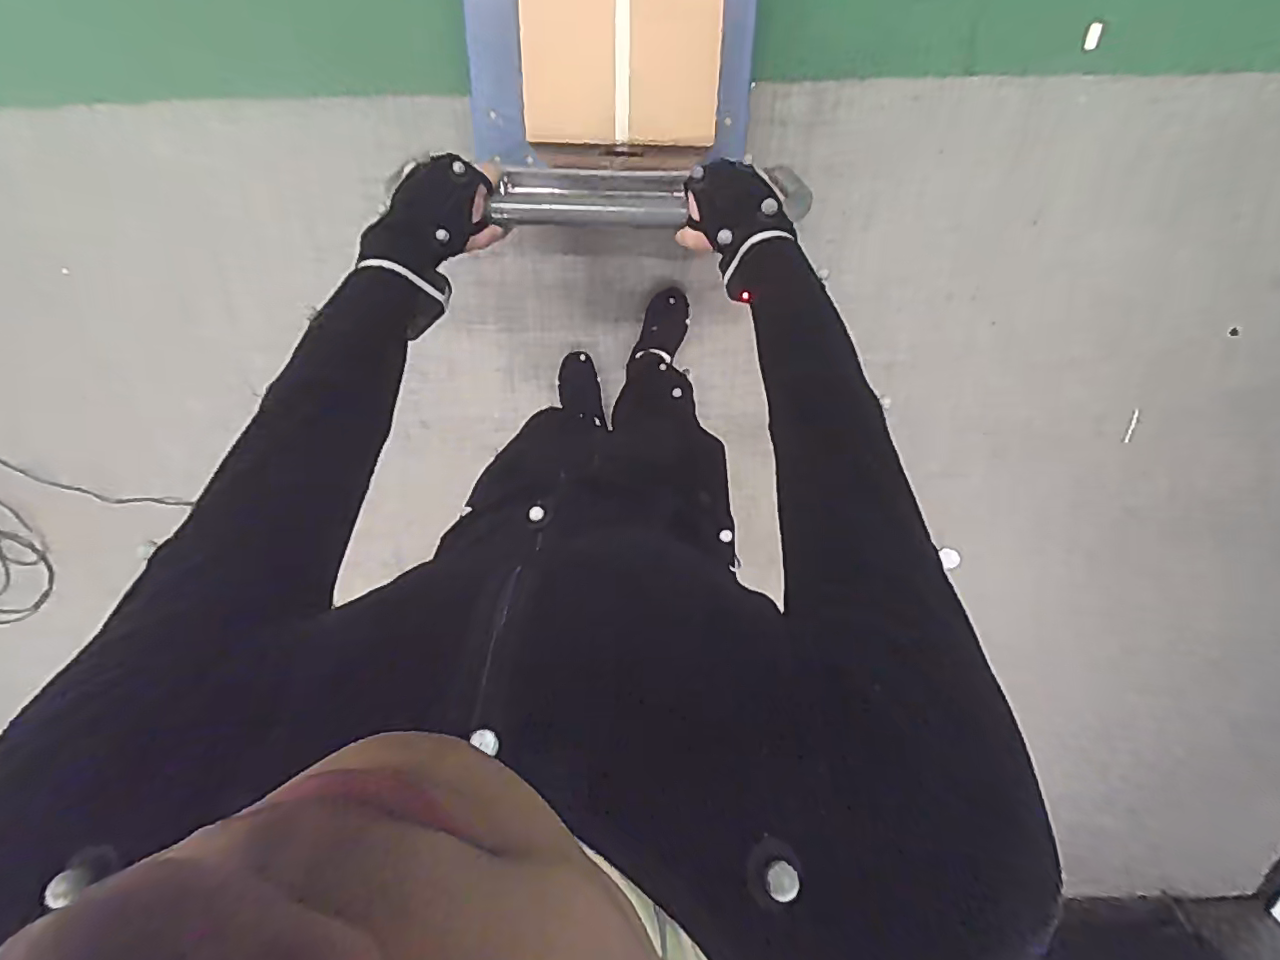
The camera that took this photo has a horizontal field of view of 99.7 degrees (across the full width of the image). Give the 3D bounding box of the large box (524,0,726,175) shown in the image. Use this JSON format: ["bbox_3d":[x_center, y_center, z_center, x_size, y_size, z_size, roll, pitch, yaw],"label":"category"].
[{"bbox_3d":[-0.024,-0.787,0.959,0.320,0.320,0.408,0,113,-2],"label":"large box"}]
